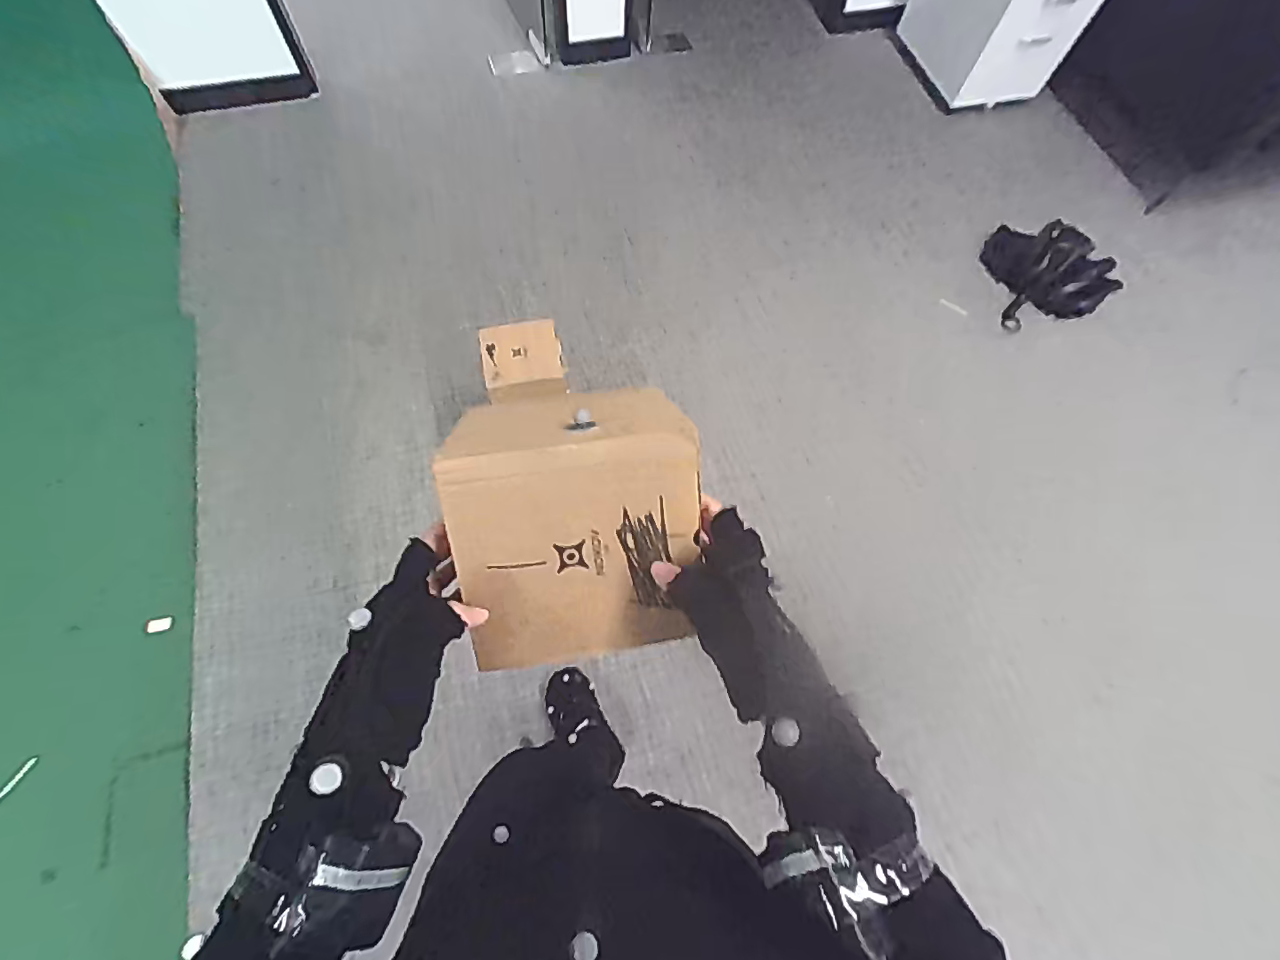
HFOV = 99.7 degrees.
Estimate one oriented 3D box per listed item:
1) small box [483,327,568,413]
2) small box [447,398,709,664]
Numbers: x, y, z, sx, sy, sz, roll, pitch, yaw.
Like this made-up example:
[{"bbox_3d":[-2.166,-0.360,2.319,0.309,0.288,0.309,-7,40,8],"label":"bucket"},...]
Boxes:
[{"bbox_3d":[-0.270,-0.243,1.306,0.179,0.176,0.168,-10,67,-9],"label":"small box"},{"bbox_3d":[-0.049,0.027,0.463,0.179,0.176,0.168,-7,107,-6],"label":"small box"}]
